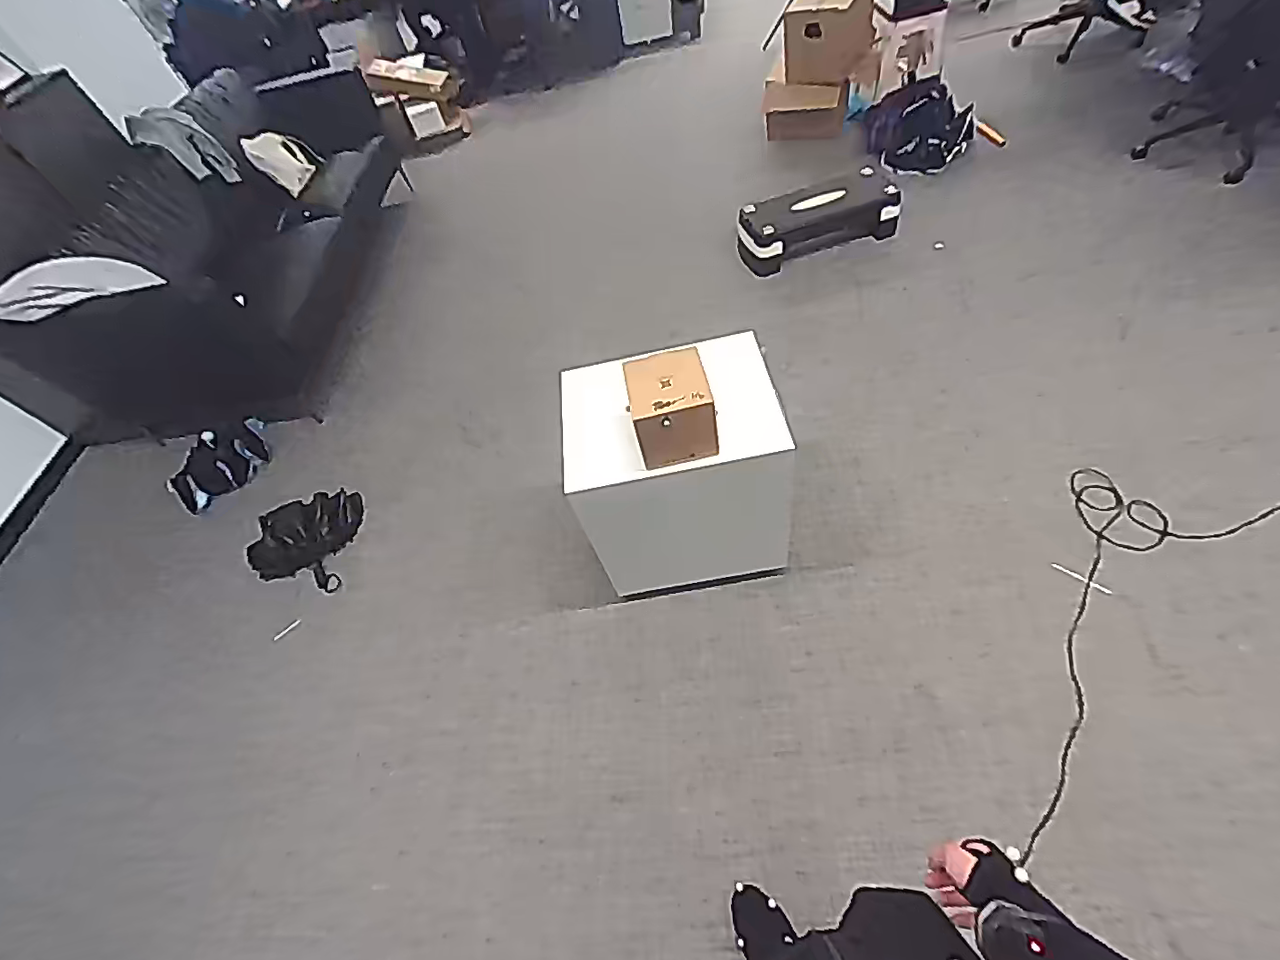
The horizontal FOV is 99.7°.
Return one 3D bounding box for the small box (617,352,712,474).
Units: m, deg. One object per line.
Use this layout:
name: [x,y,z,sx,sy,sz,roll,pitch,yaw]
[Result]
small box: [0.054,-0.142,1.165,0.168,0.176,0.179,-14,51,3]
